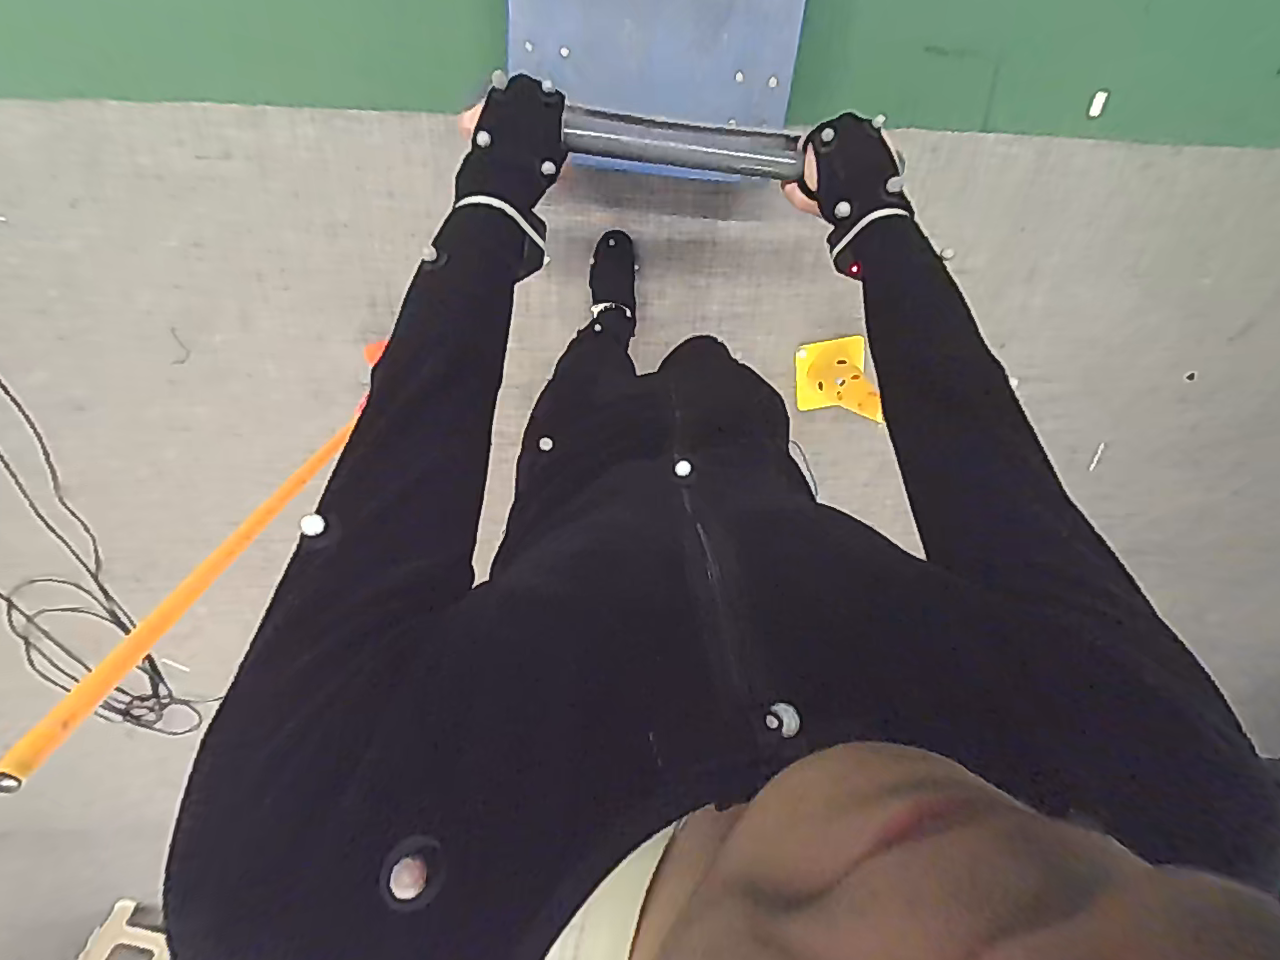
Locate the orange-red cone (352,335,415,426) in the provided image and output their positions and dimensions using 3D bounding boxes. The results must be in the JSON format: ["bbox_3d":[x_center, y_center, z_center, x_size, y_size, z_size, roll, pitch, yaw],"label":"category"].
[{"bbox_3d":[-0.620,-0.213,1.334,0.199,0.360,0.198,-13,117,4],"label":"orange-red cone"}]
